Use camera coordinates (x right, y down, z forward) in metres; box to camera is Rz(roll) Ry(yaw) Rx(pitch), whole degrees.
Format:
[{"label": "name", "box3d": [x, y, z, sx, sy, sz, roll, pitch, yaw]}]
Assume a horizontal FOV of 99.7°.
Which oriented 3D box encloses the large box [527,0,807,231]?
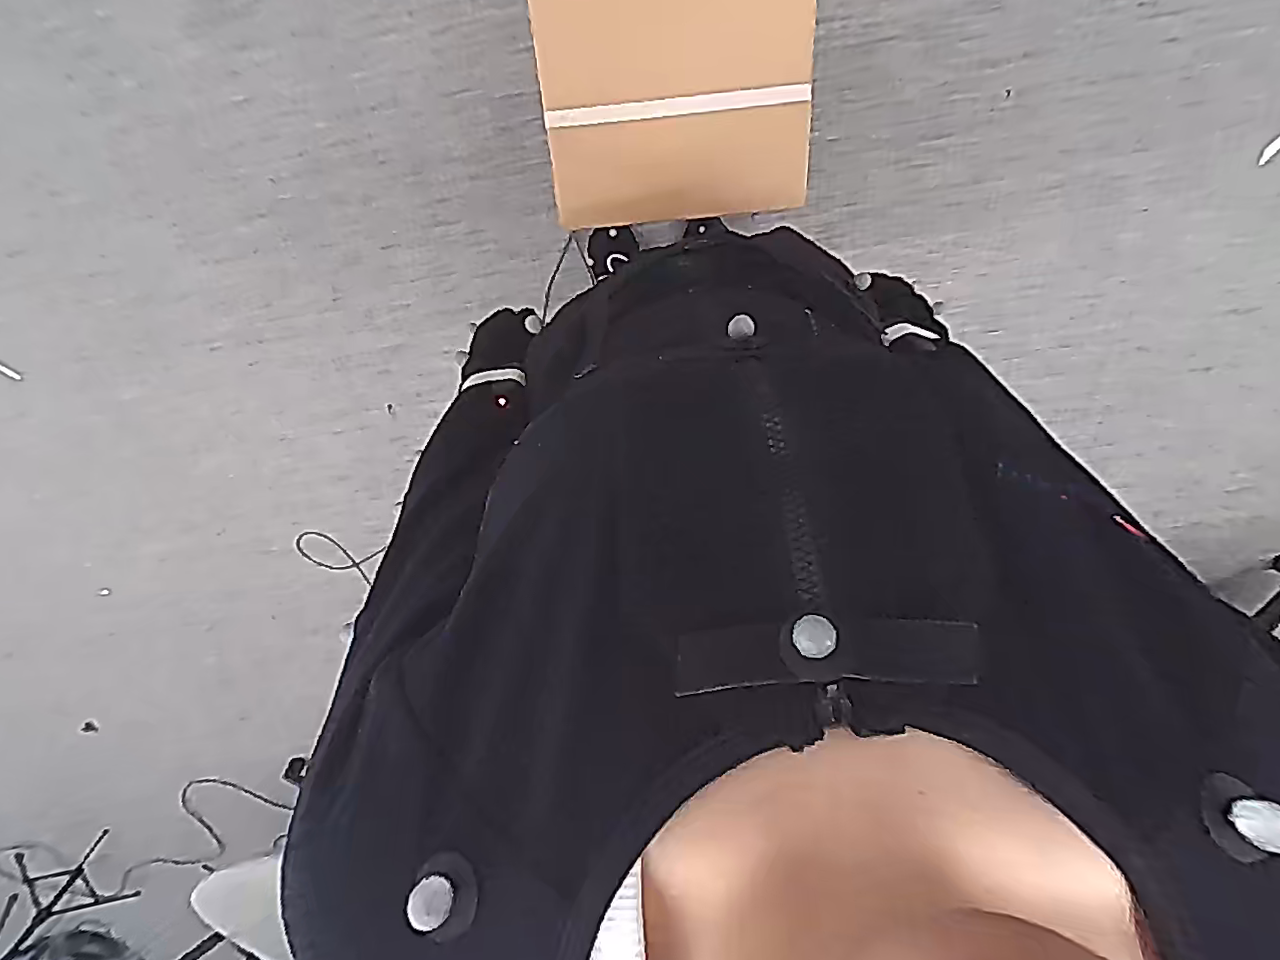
[{"label": "large box", "box3d": [0.048, -0.639, 0.953, 0.408, 0.320, 0.320, -5, 118, 1]}]
